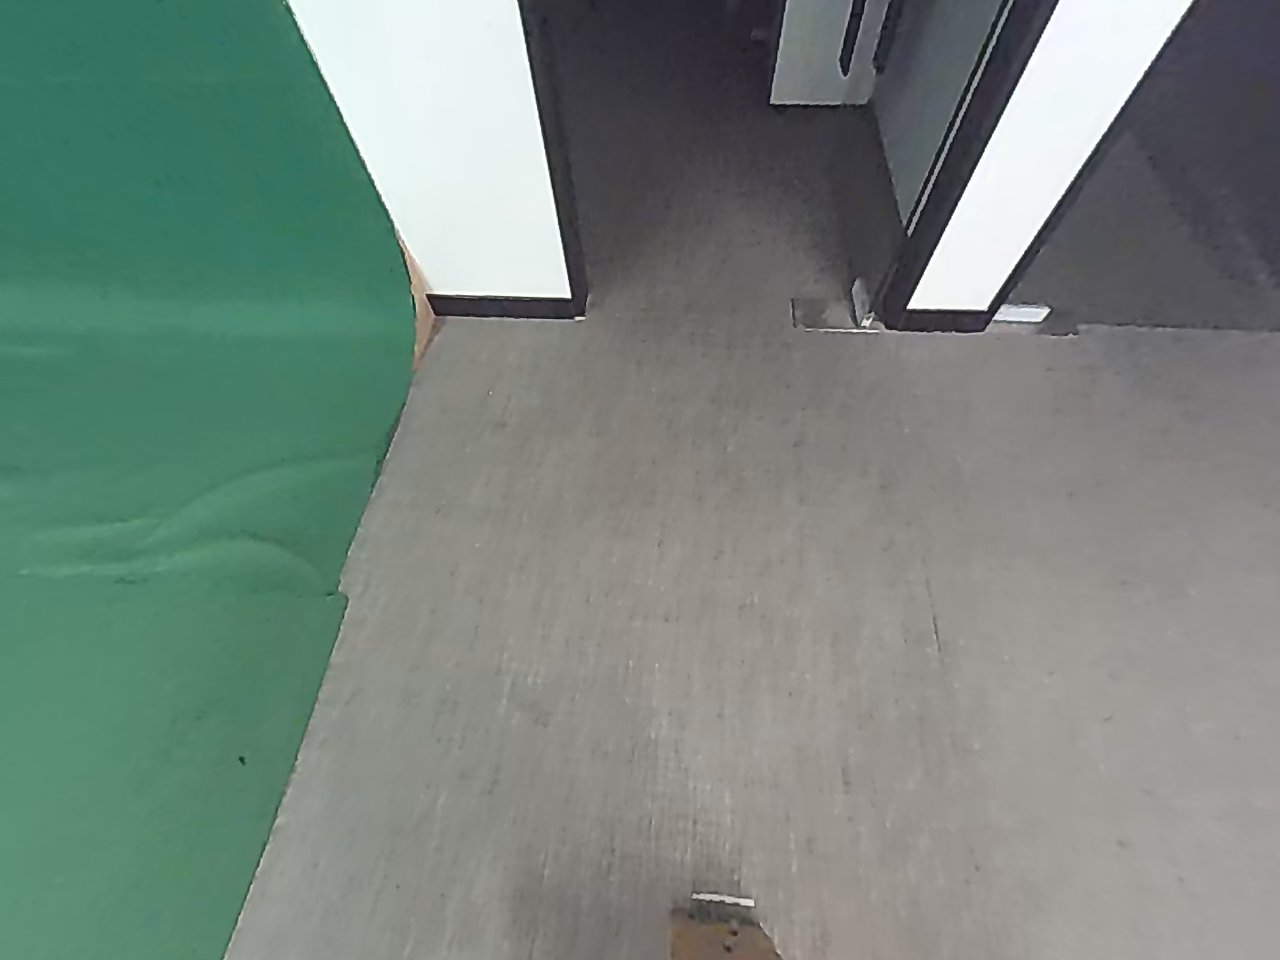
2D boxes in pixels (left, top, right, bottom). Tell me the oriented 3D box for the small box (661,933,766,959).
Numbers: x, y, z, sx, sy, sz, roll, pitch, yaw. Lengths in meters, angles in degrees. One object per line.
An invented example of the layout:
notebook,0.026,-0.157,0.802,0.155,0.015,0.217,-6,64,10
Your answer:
small box,0.111,0.825,0.826,0.168,0.176,0.179,5,59,4
